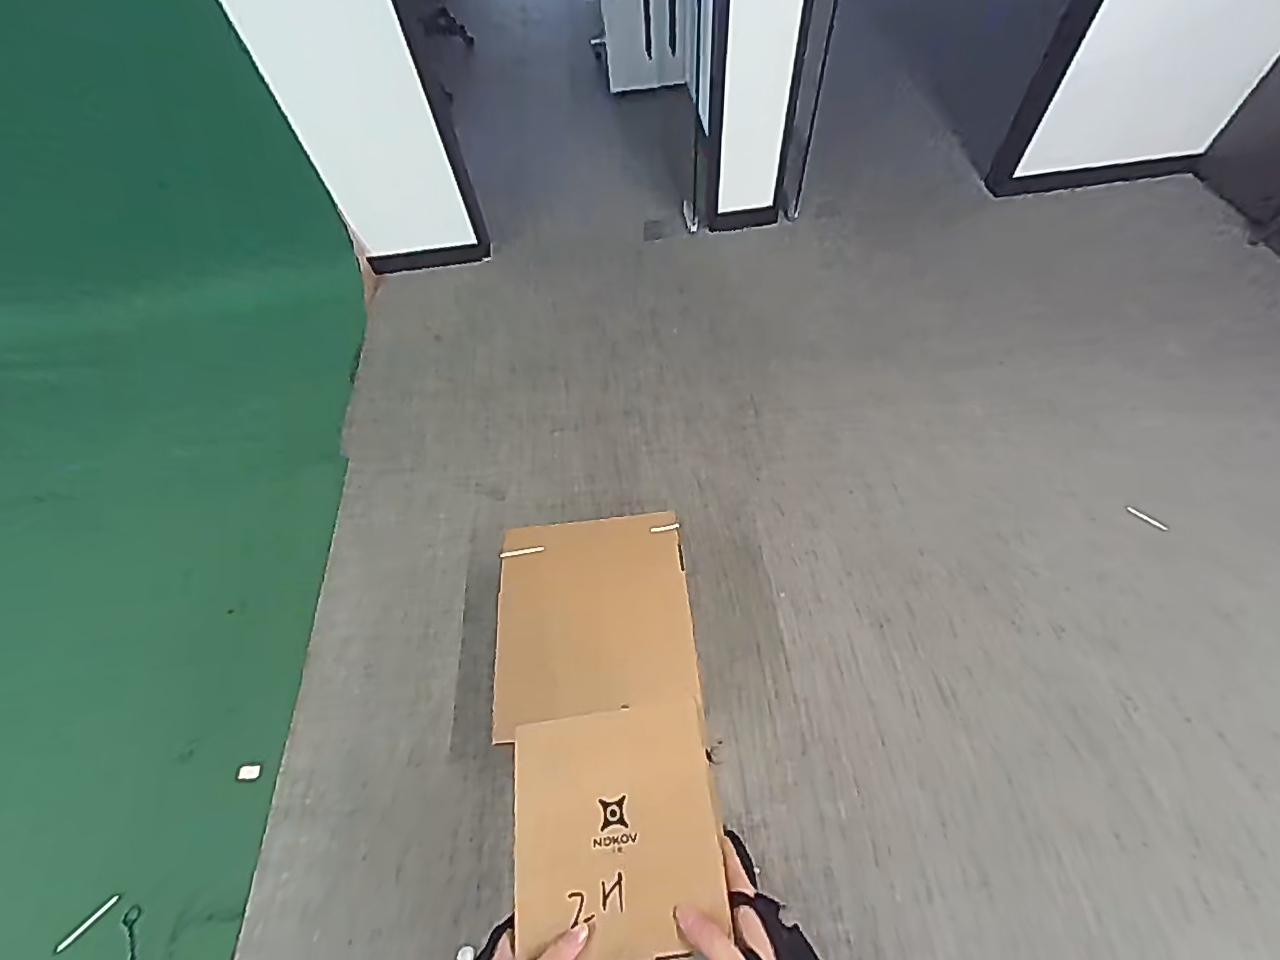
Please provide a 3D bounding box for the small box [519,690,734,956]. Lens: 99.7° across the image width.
[{"bbox_3d":[-0.009,0.316,0.515,0.168,0.176,0.179,-10,59,4],"label":"small box"}]
